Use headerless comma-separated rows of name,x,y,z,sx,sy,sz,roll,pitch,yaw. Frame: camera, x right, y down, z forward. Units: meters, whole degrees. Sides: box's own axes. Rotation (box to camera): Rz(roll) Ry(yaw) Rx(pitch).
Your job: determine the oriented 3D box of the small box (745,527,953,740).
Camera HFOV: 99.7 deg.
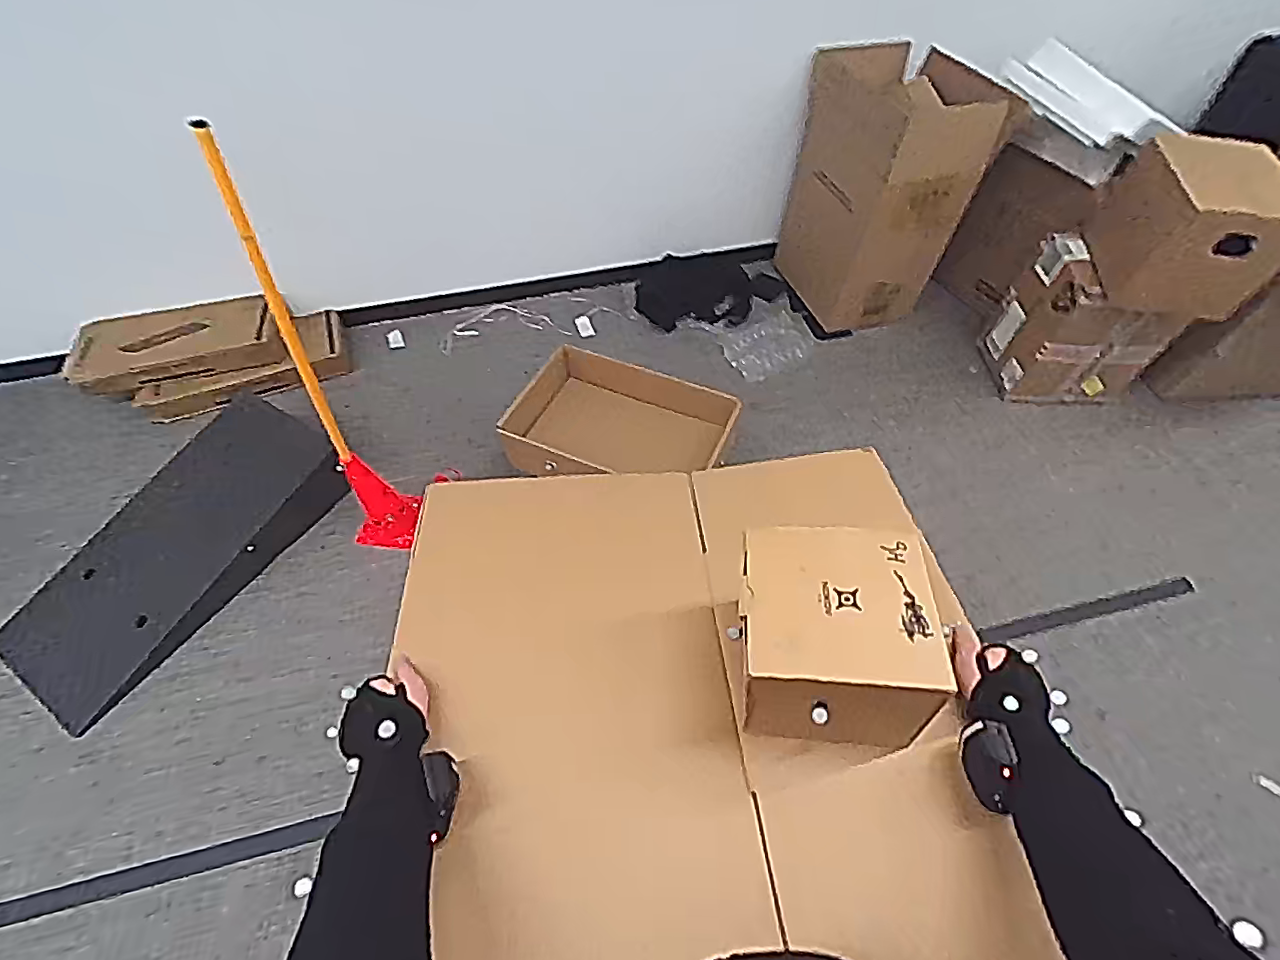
small box,0.205,0.166,0.584,0.179,0.176,0.168,0,50,11
